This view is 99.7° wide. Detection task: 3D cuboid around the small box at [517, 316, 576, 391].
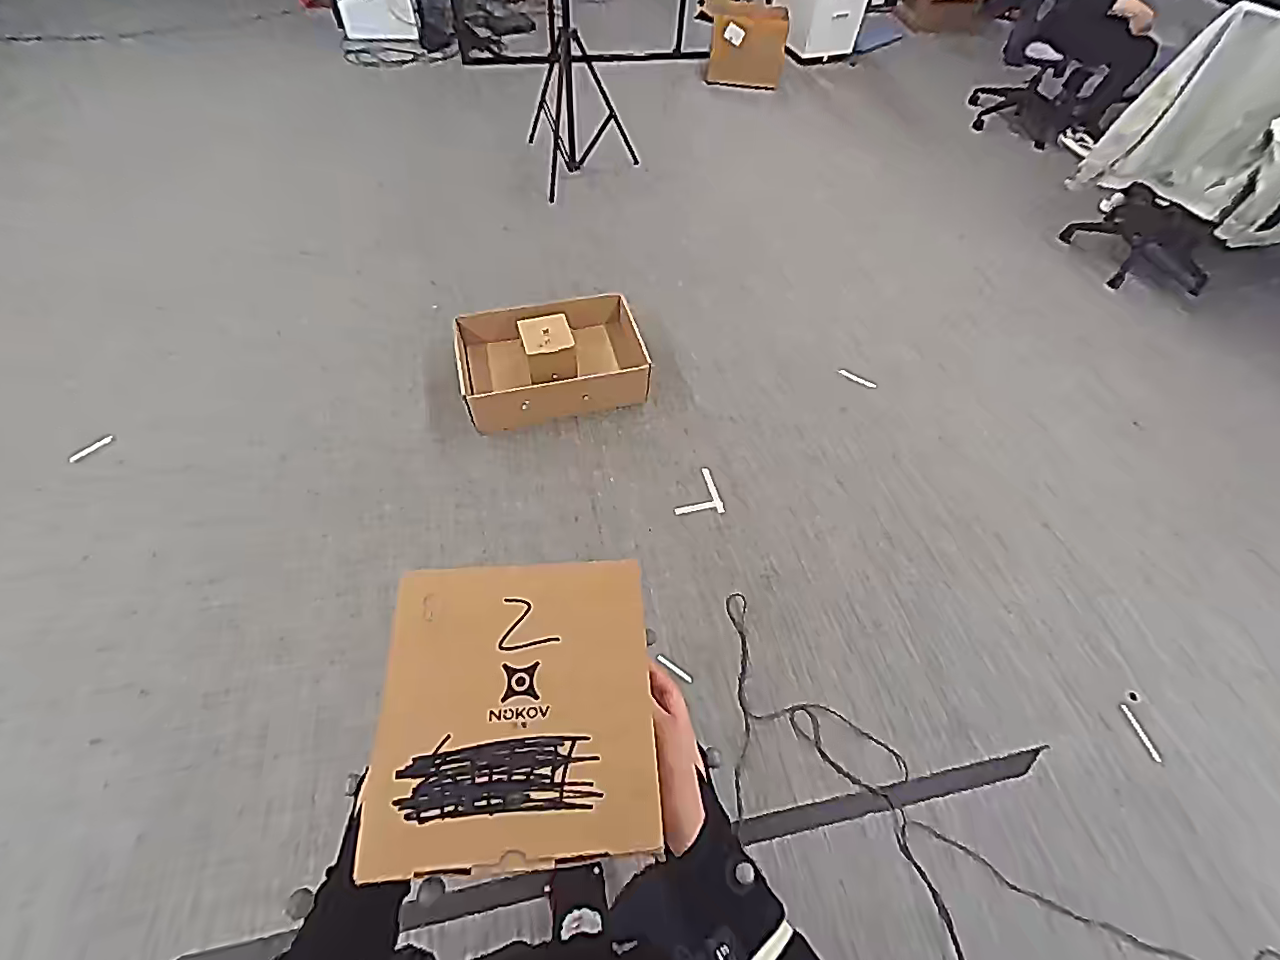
[{"bbox_3d":[-0.324,-0.440,1.881,0.168,0.176,0.179,-14,58,-12],"label":"small box"}]
